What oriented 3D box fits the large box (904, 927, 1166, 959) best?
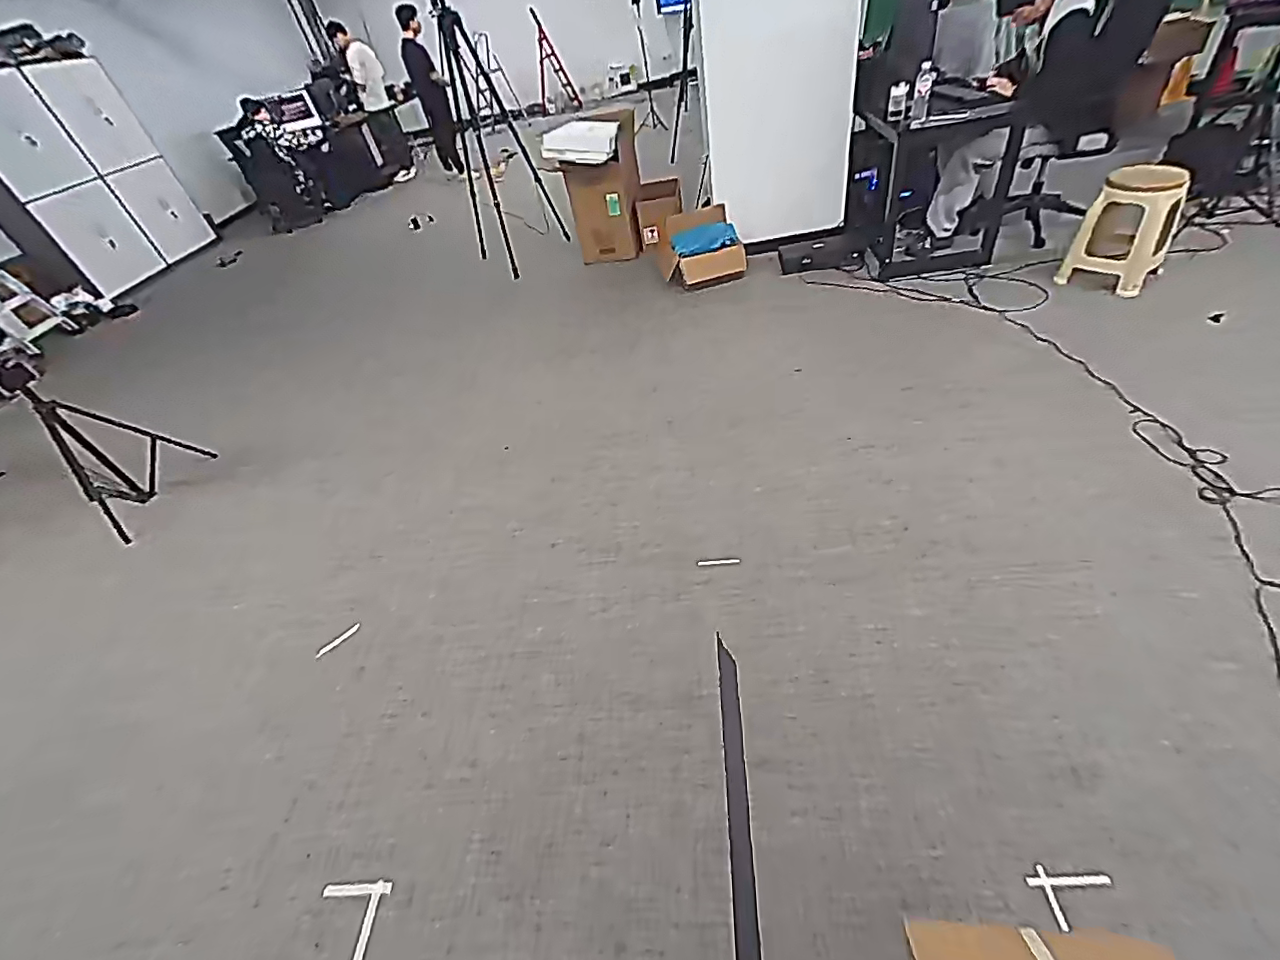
[{"bbox_3d":[0.485,0.749,0.521,0.320,0.408,0.320,-6,85,12],"label":"large box"}]
